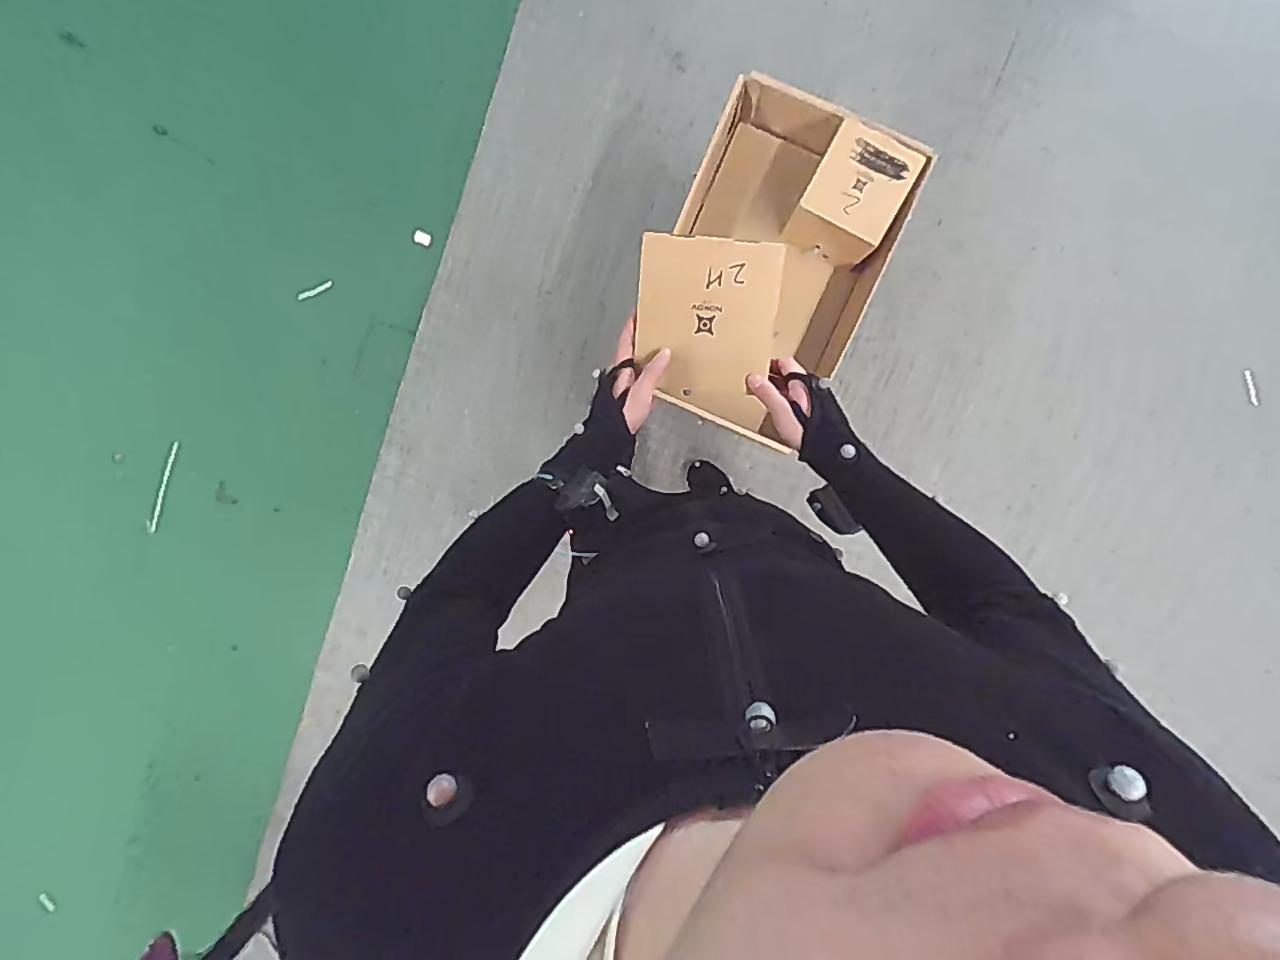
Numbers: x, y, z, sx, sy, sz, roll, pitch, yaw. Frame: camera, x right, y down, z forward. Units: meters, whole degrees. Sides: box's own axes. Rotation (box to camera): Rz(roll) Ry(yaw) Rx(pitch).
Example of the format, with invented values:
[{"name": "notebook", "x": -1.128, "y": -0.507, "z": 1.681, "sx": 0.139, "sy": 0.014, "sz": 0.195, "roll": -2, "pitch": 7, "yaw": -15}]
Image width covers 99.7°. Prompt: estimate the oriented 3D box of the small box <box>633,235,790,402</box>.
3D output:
[{"name": "small box", "x": 0.081, "y": -0.206, "z": 0.704, "sx": 0.168, "sy": 0.176, "sz": 0.179, "roll": 5, "pitch": 106, "yaw": -2}]
